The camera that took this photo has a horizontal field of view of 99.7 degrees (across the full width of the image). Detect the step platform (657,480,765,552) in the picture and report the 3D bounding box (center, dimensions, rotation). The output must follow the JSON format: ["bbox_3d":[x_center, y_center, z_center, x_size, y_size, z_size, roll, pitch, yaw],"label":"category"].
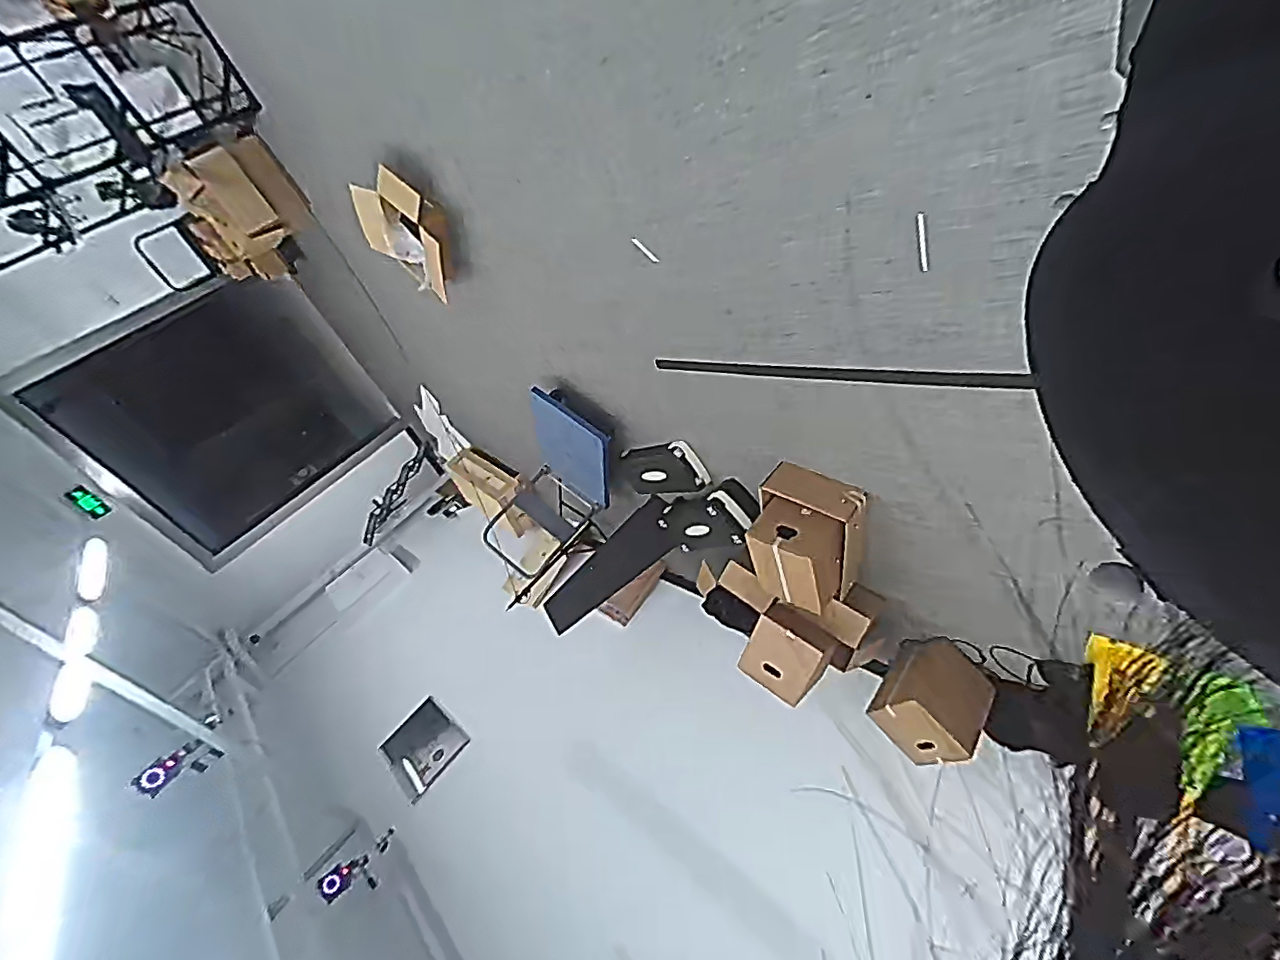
[{"bbox_3d":[0.364,0.216,2.971,0.286,0.204,0.684,48,154,-8],"label":"step platform"}]
